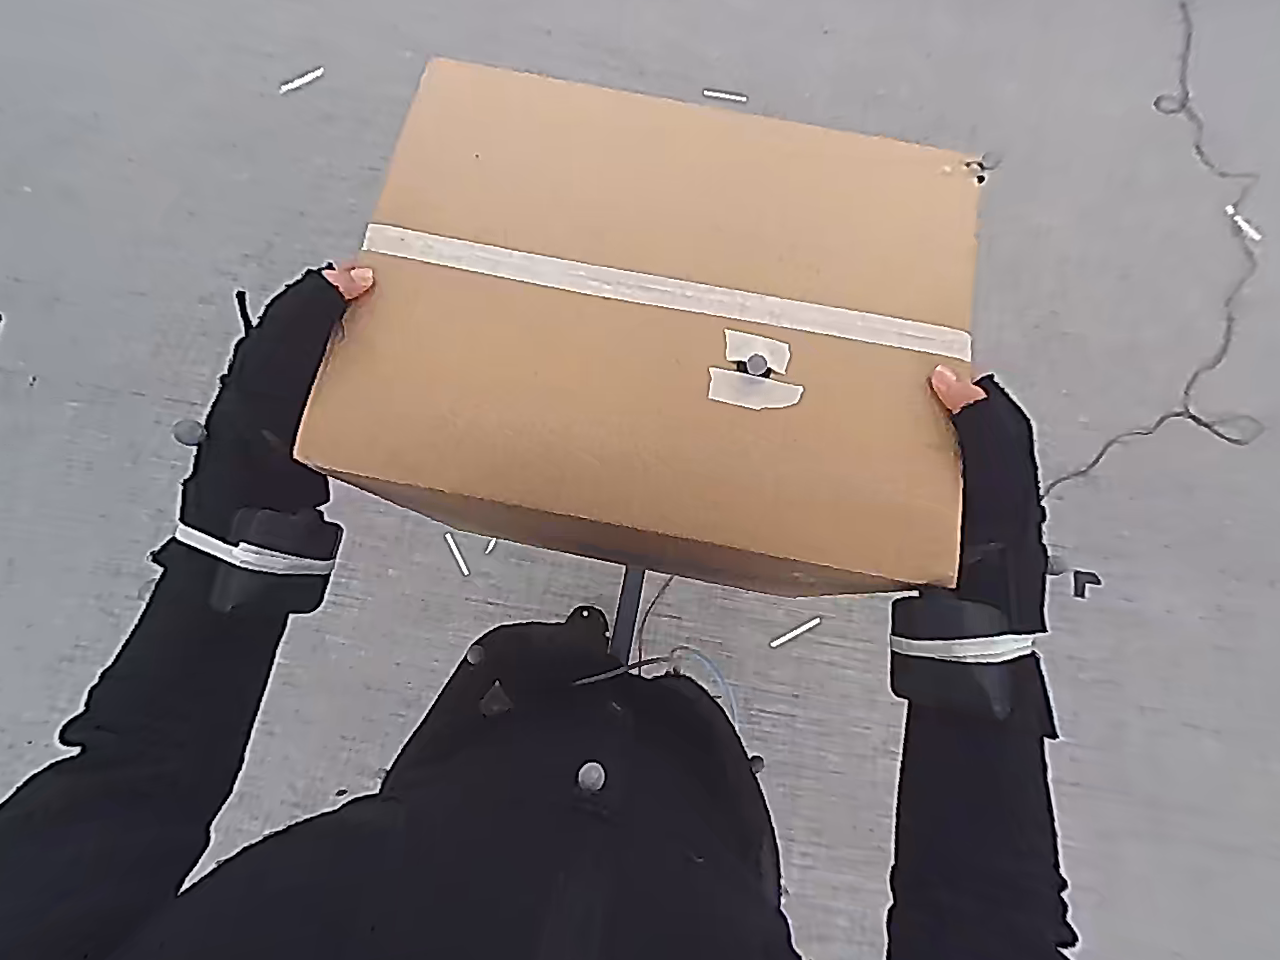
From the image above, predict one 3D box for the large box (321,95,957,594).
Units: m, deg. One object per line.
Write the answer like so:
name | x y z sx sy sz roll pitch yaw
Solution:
large box | 0.011 -0.080 0.517 0.408 0.320 0.320 11 78 1
